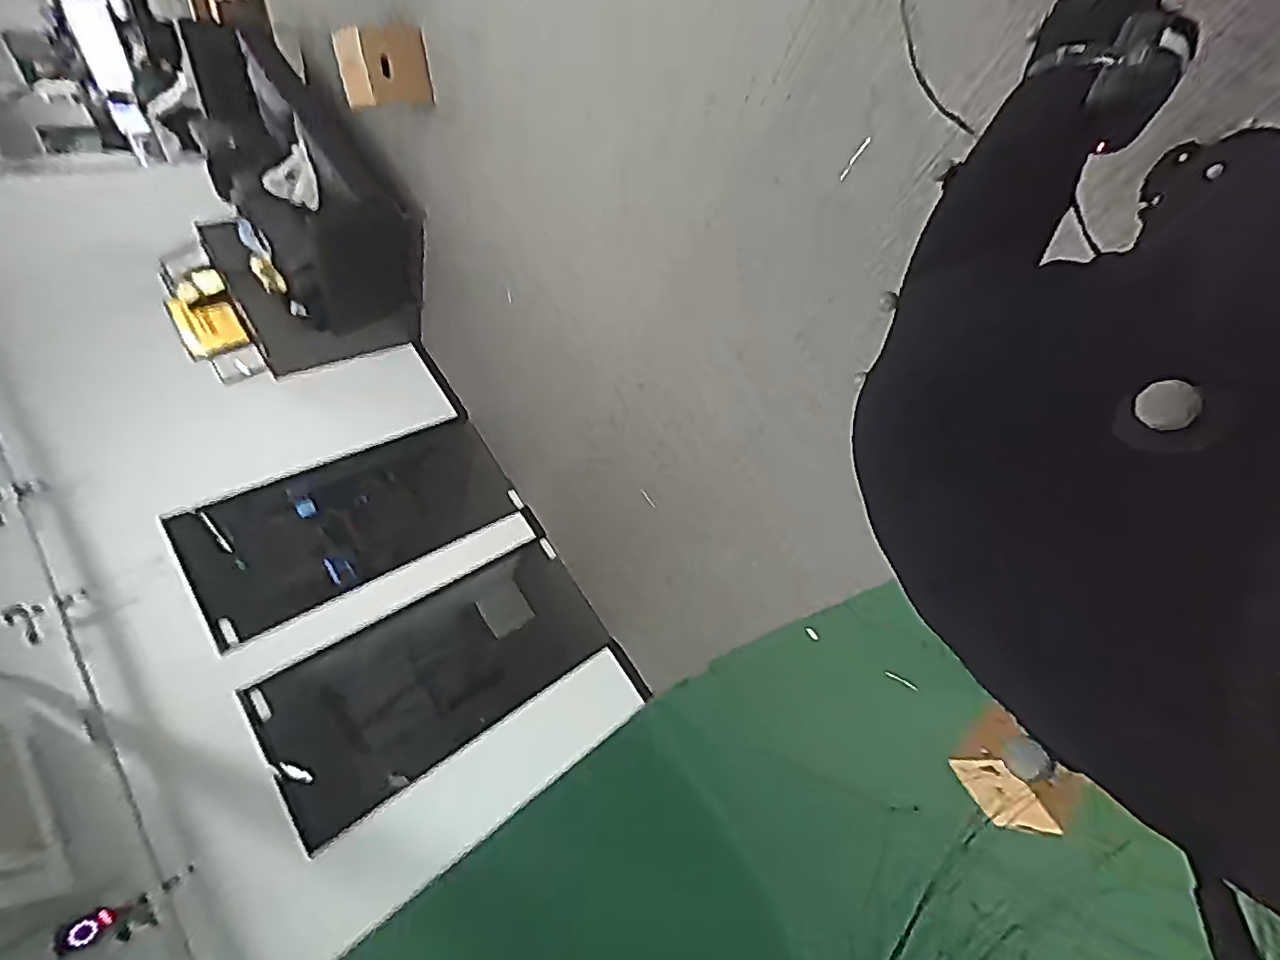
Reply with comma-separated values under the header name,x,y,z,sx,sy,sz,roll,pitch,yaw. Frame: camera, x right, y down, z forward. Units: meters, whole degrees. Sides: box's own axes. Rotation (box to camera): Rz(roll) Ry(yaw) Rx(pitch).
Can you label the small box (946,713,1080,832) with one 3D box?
name,x,y,z,sx,sy,sz,roll,pitch,yaw
small box,0.879,0.679,1.273,0.179,0.176,0.168,56,148,10
